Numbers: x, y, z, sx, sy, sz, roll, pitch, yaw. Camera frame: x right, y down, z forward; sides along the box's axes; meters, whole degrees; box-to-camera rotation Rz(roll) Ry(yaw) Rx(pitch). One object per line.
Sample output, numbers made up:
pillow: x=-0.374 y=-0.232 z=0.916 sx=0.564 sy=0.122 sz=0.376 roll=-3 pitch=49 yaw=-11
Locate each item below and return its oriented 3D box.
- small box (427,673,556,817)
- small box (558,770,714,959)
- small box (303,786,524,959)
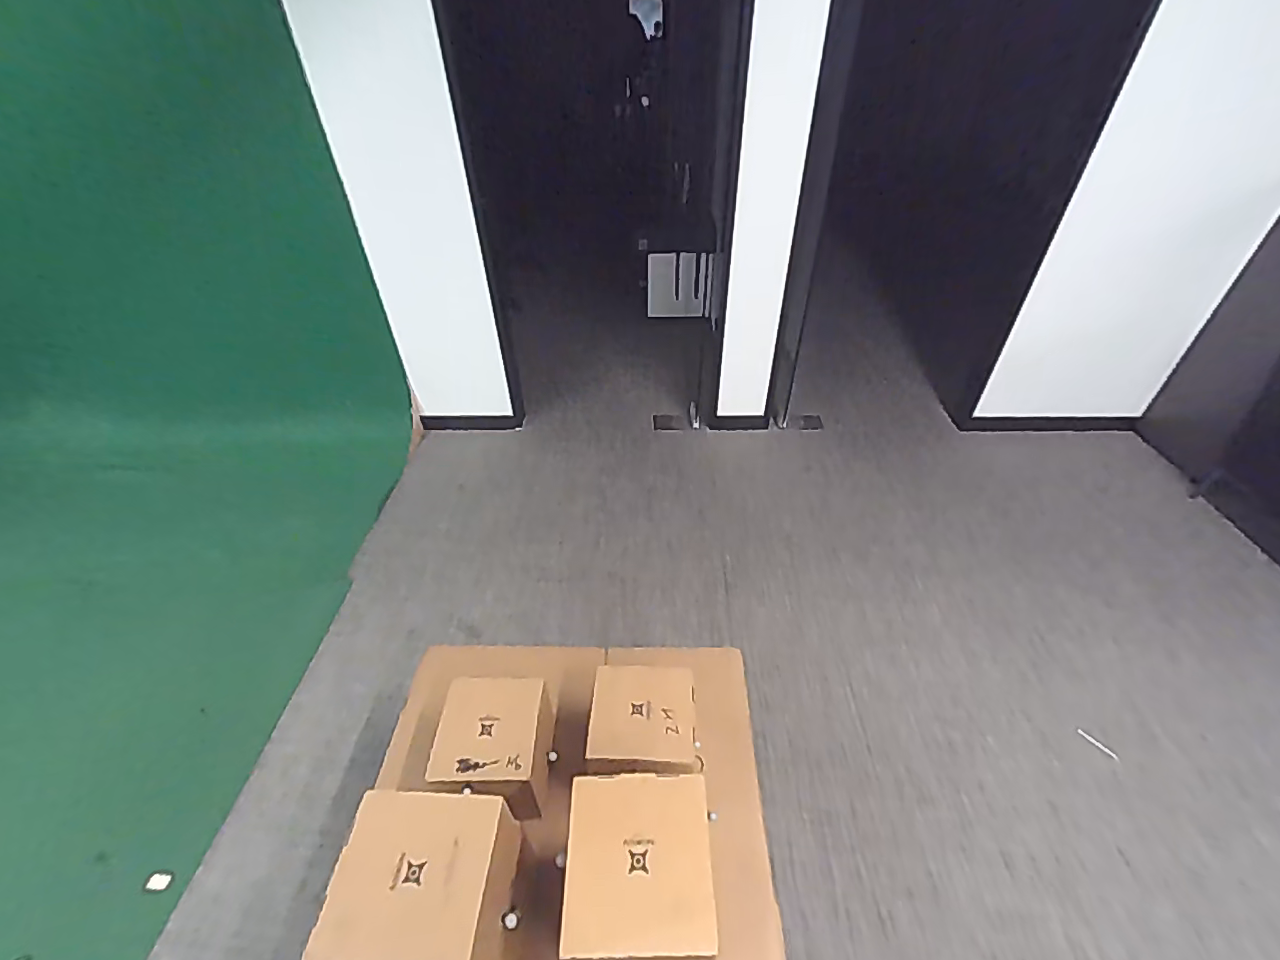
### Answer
small box: x=-0.246 y=0.462 z=0.947 sx=0.168 sy=0.176 sz=0.179 roll=-2 pitch=39 yaw=2
small box: x=0.001 y=0.483 z=0.665 sx=0.168 sy=0.176 sz=0.179 roll=-2 pitch=40 yaw=1
small box: x=-0.254 y=0.496 z=0.660 sx=0.179 sy=0.176 sz=0.168 roll=2 pitch=42 yaw=3
